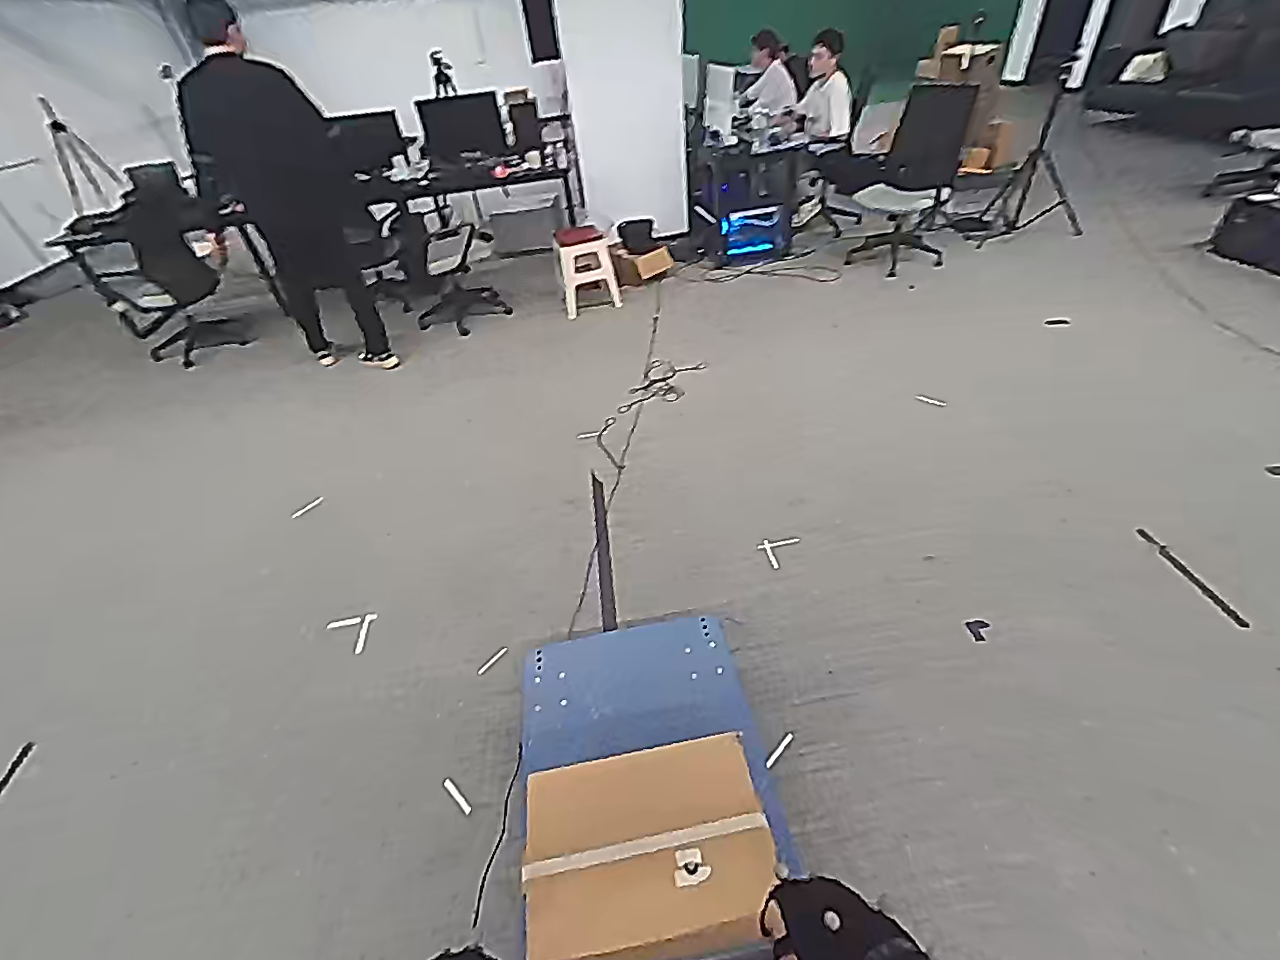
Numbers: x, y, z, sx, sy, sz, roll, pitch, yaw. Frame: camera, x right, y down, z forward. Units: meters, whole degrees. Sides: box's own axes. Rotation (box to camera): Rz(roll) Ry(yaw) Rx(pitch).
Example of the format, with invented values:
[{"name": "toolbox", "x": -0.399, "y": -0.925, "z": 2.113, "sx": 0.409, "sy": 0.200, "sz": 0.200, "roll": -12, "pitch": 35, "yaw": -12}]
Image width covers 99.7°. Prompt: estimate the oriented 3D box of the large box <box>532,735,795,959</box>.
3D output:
[{"name": "large box", "x": 0.029, "y": 0.736, "z": 1.004, "sx": 0.408, "sy": 0.320, "sz": 0.320, "roll": -10, "pitch": 39, "yaw": -4}]
